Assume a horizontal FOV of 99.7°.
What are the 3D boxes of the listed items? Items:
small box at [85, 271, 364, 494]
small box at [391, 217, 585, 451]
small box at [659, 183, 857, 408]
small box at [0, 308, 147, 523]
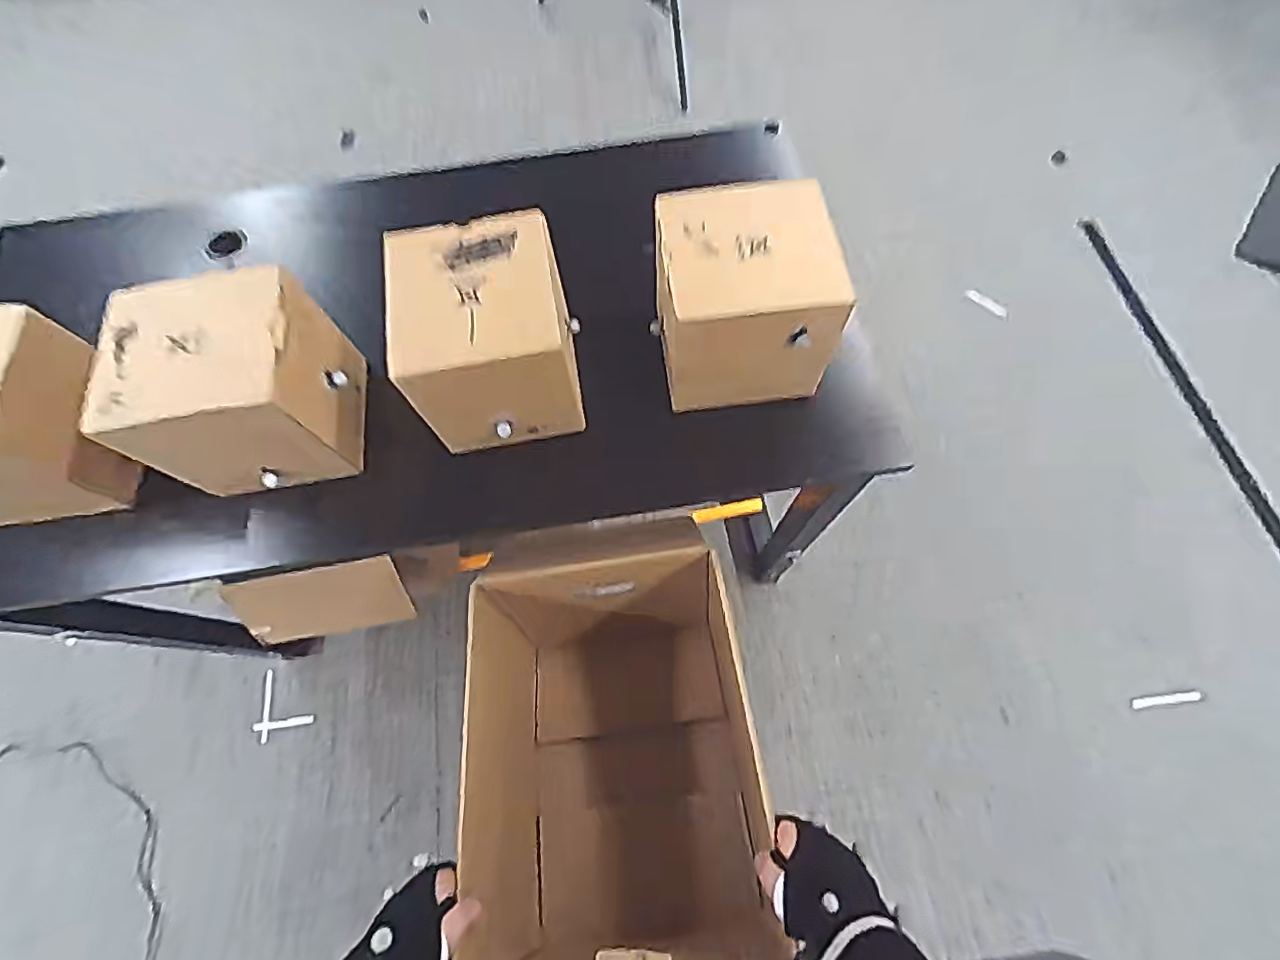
[{"bbox_3d":[-0.426,-0.097,0.594,0.179,0.176,0.168,-10,67,-3],"label":"small box"},{"bbox_3d":[-0.161,-0.155,0.607,0.168,0.176,0.179,-10,68,-2],"label":"small box"},{"bbox_3d":[0.116,-0.198,0.613,0.179,0.176,0.168,-7,66,0],"label":"small box"},{"bbox_3d":[-0.687,-0.059,0.586,0.179,0.176,0.168,-7,68,-2],"label":"small box"}]
